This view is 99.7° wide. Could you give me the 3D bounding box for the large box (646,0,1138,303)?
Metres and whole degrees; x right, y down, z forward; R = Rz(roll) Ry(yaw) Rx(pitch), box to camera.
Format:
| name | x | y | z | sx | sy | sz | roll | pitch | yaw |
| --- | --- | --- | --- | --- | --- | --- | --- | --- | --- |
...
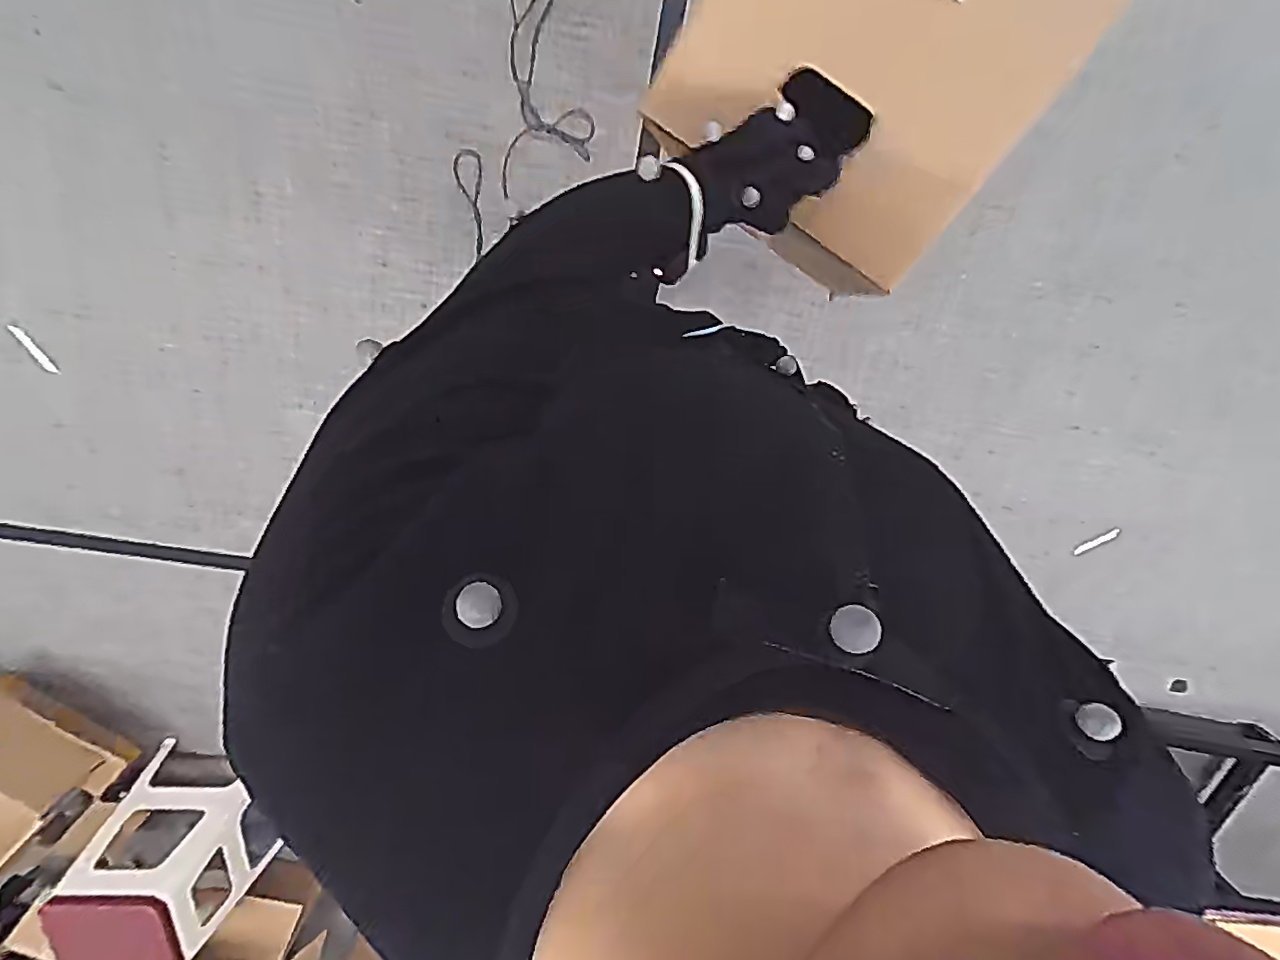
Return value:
| name | x | y | z | sx | sy | sz | roll | pitch | yaw |
| --- | --- | --- | --- | --- | --- | --- | --- | --- | --- |
| large box | 0.257 | -0.440 | 0.664 | 0.320 | 0.408 | 0.320 | 40 | 113 | 0 |
